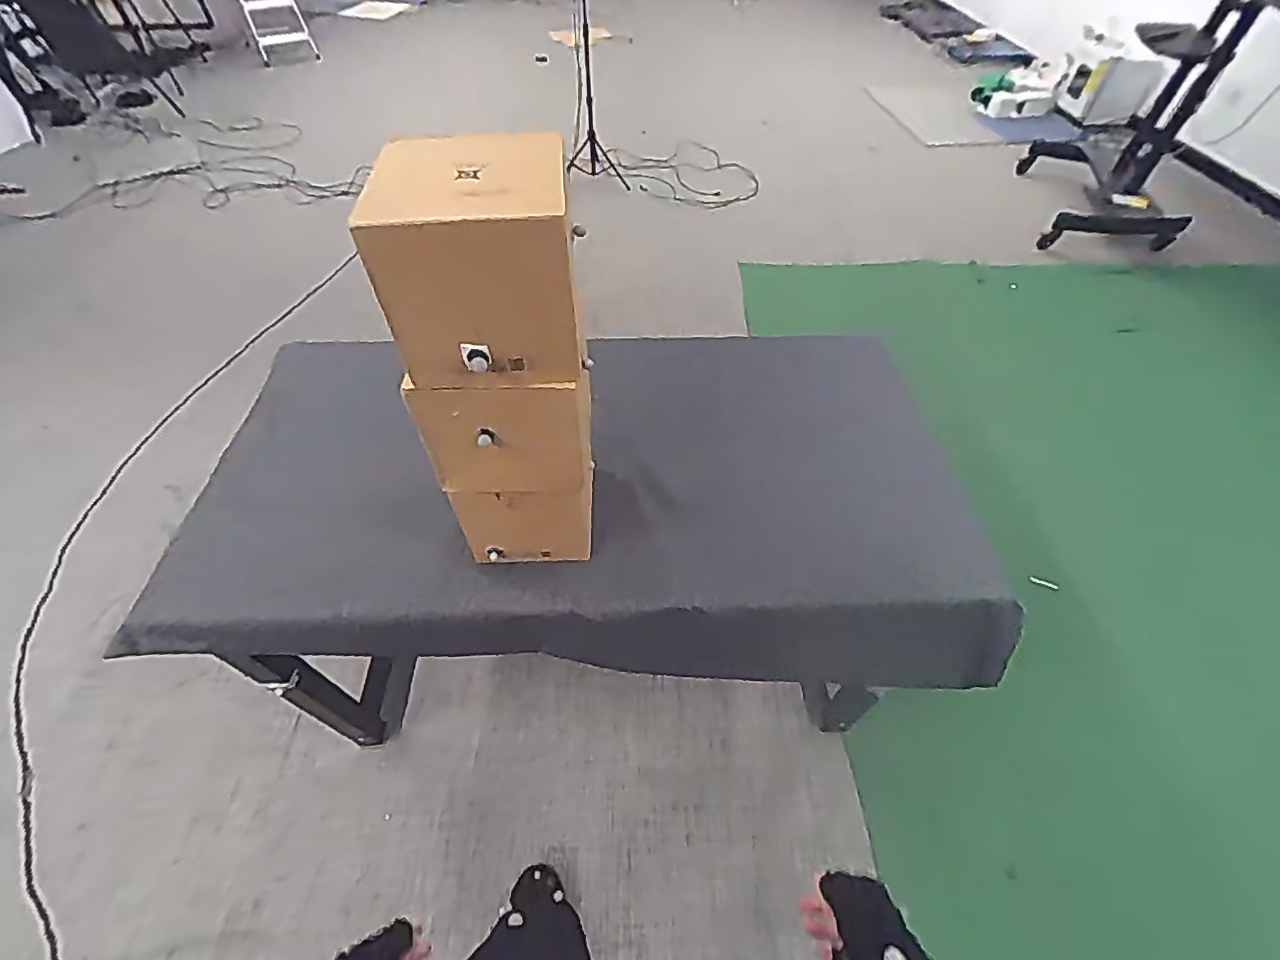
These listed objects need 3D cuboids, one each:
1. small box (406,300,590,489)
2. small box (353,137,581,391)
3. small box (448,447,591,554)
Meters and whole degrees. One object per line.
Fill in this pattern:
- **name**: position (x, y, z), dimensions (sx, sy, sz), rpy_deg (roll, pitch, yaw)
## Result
- **small box**: position (-0.154, -0.102, 0.656), dimensions (0.179, 0.176, 0.168), rpy_deg (-3, 49, -3)
- **small box**: position (-0.149, -0.210, 0.532), dimensions (0.168, 0.176, 0.179), rpy_deg (-6, 52, -4)
- **small box**: position (-0.159, -0.004, 0.784), dimensions (0.168, 0.176, 0.179), rpy_deg (-1, 49, -1)
